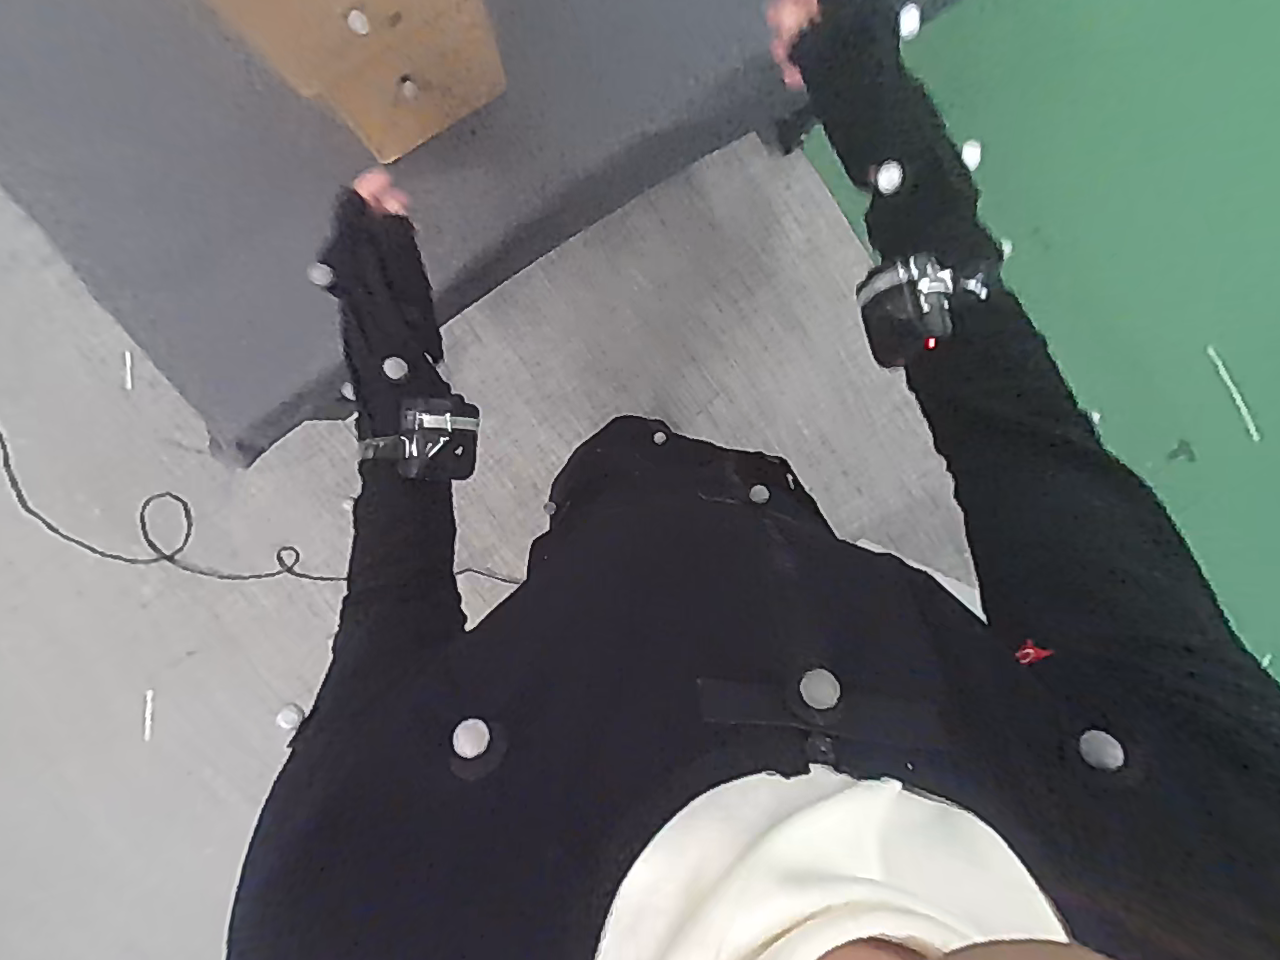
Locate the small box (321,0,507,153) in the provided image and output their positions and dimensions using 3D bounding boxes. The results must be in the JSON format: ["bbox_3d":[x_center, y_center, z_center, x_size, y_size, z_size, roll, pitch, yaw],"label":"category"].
[{"bbox_3d":[-0.261,-0.479,0.547,0.179,0.176,0.168,-31,97,2],"label":"small box"}]
